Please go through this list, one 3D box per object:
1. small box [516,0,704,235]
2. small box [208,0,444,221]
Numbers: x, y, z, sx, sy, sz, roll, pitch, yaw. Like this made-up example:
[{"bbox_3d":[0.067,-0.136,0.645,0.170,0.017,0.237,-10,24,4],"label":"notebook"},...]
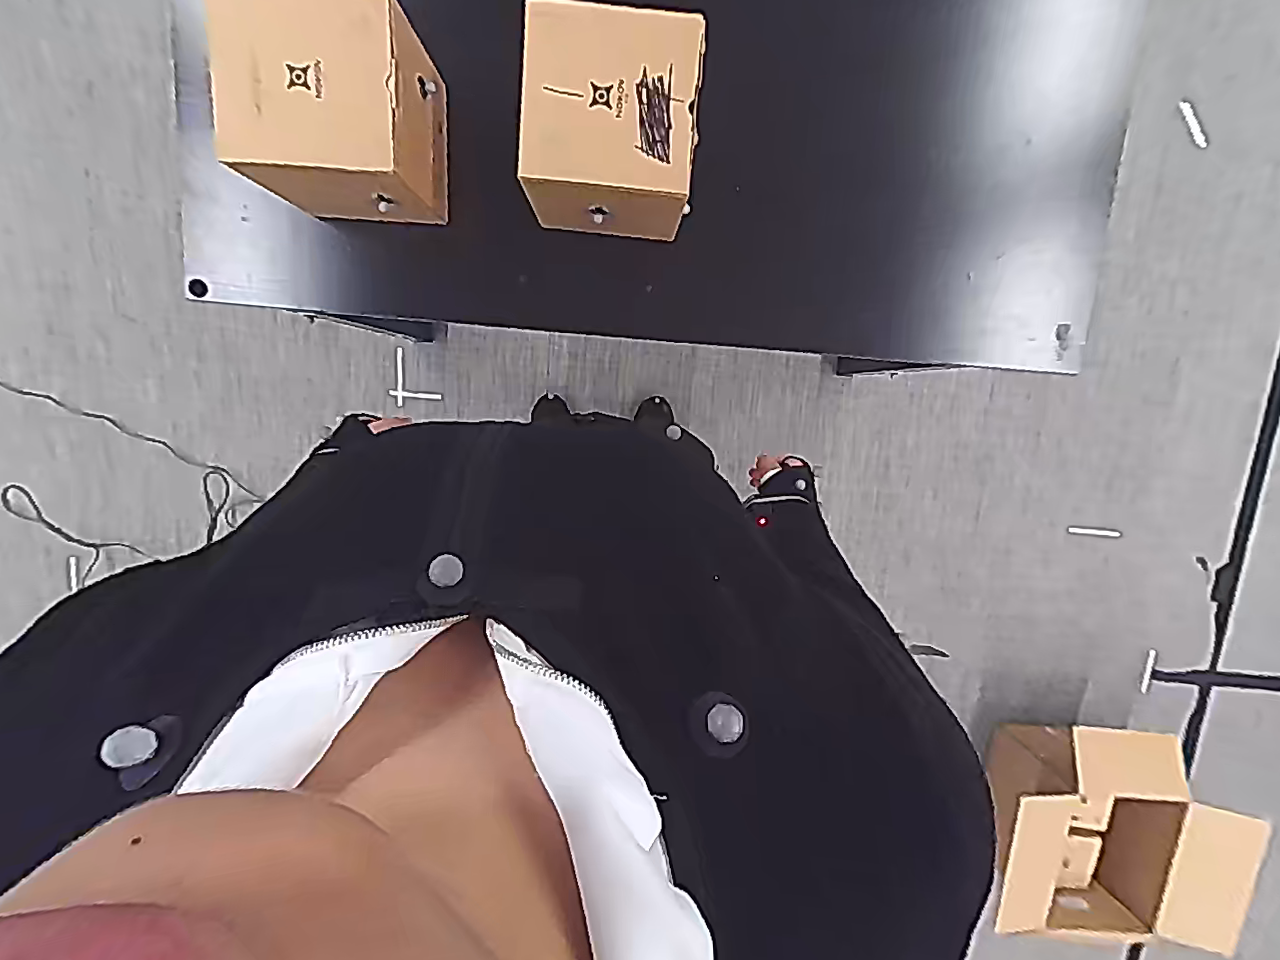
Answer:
[{"bbox_3d":[-0.034,-0.392,0.615,0.179,0.176,0.168,5,99,-2],"label":"small box"},{"bbox_3d":[-0.328,-0.404,0.605,0.179,0.176,0.168,2,98,-2],"label":"small box"}]
